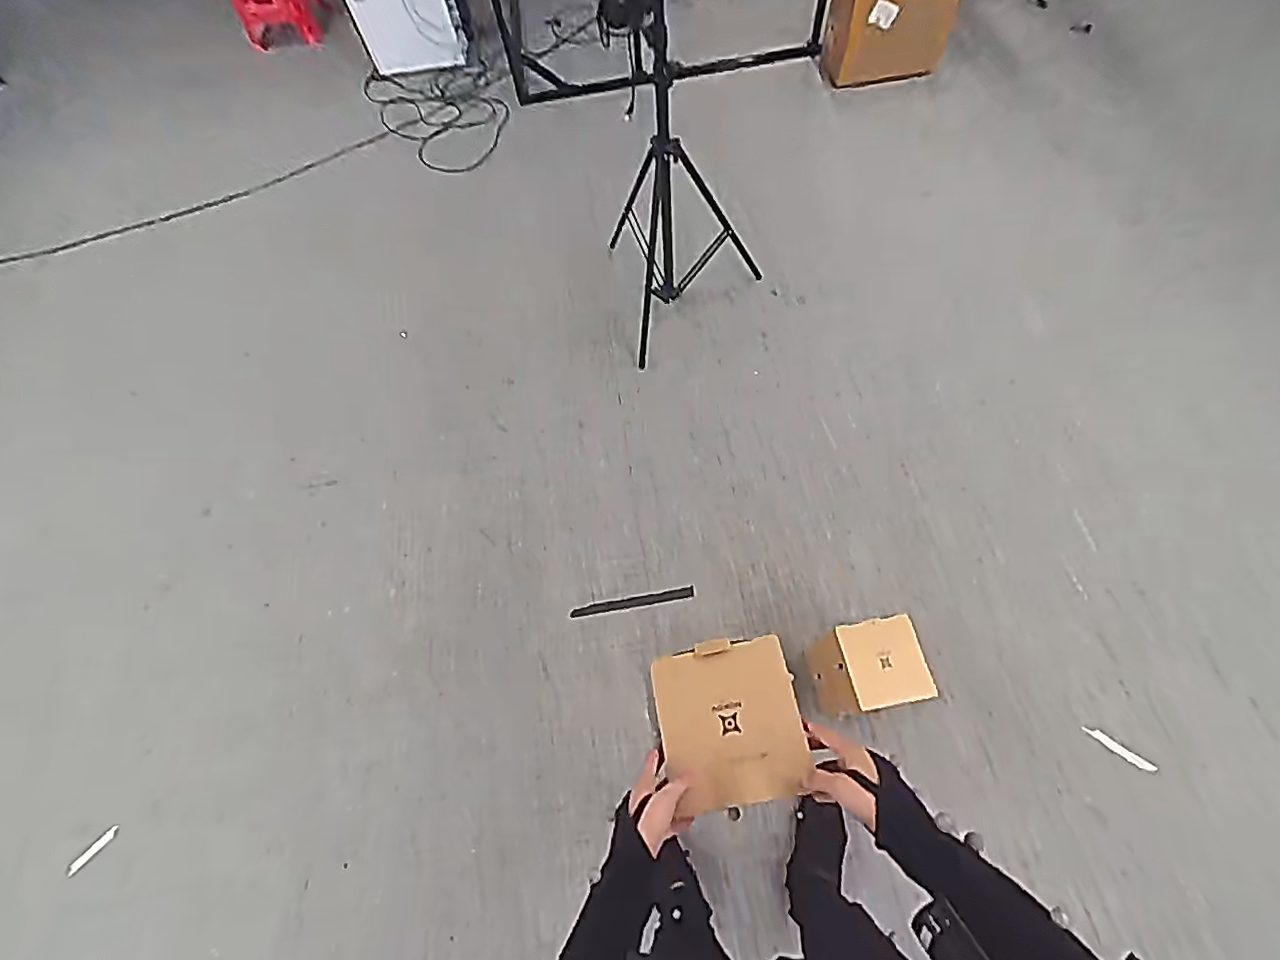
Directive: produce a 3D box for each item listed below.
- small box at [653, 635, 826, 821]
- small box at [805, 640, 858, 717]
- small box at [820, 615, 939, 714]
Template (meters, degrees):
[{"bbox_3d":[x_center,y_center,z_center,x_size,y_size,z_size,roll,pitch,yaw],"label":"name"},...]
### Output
[{"bbox_3d":[0.116,0.317,0.686,0.168,0.176,0.179,-12,60,2],"label":"small box"},{"bbox_3d":[0.530,0.486,1.352,0.168,0.176,0.179,-11,64,-1],"label":"small box"},{"bbox_3d":[0.522,0.417,1.205,0.168,0.176,0.179,-11,64,-1],"label":"small box"}]
